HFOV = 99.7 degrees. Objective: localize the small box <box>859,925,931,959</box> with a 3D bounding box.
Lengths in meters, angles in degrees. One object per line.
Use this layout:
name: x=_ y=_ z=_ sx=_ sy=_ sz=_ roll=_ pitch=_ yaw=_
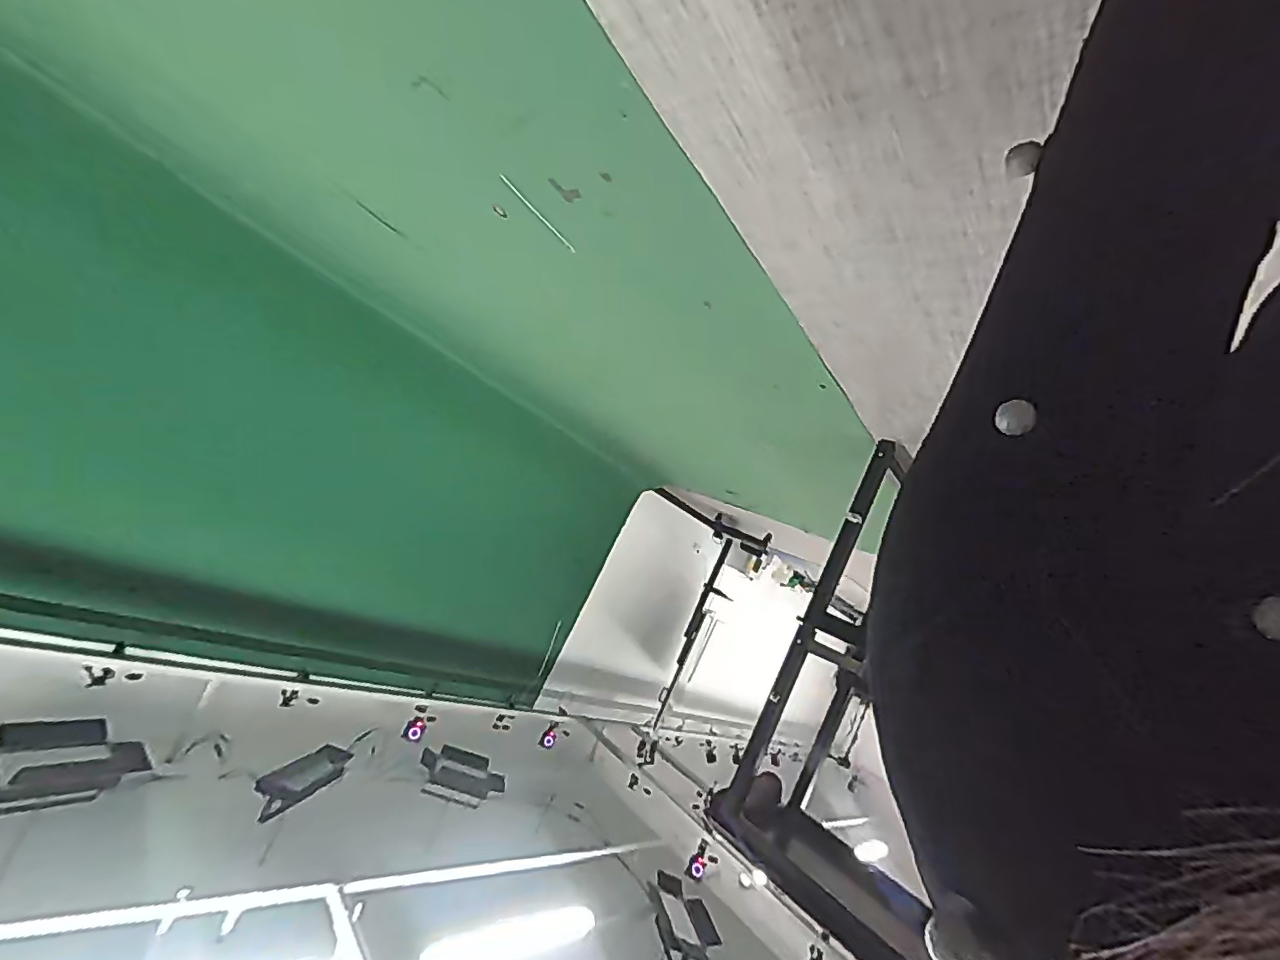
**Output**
small box: x=0.707 y=1.384 z=1.495 sx=0.168 sy=0.176 sz=0.179 roll=19 pitch=170 yaw=45
